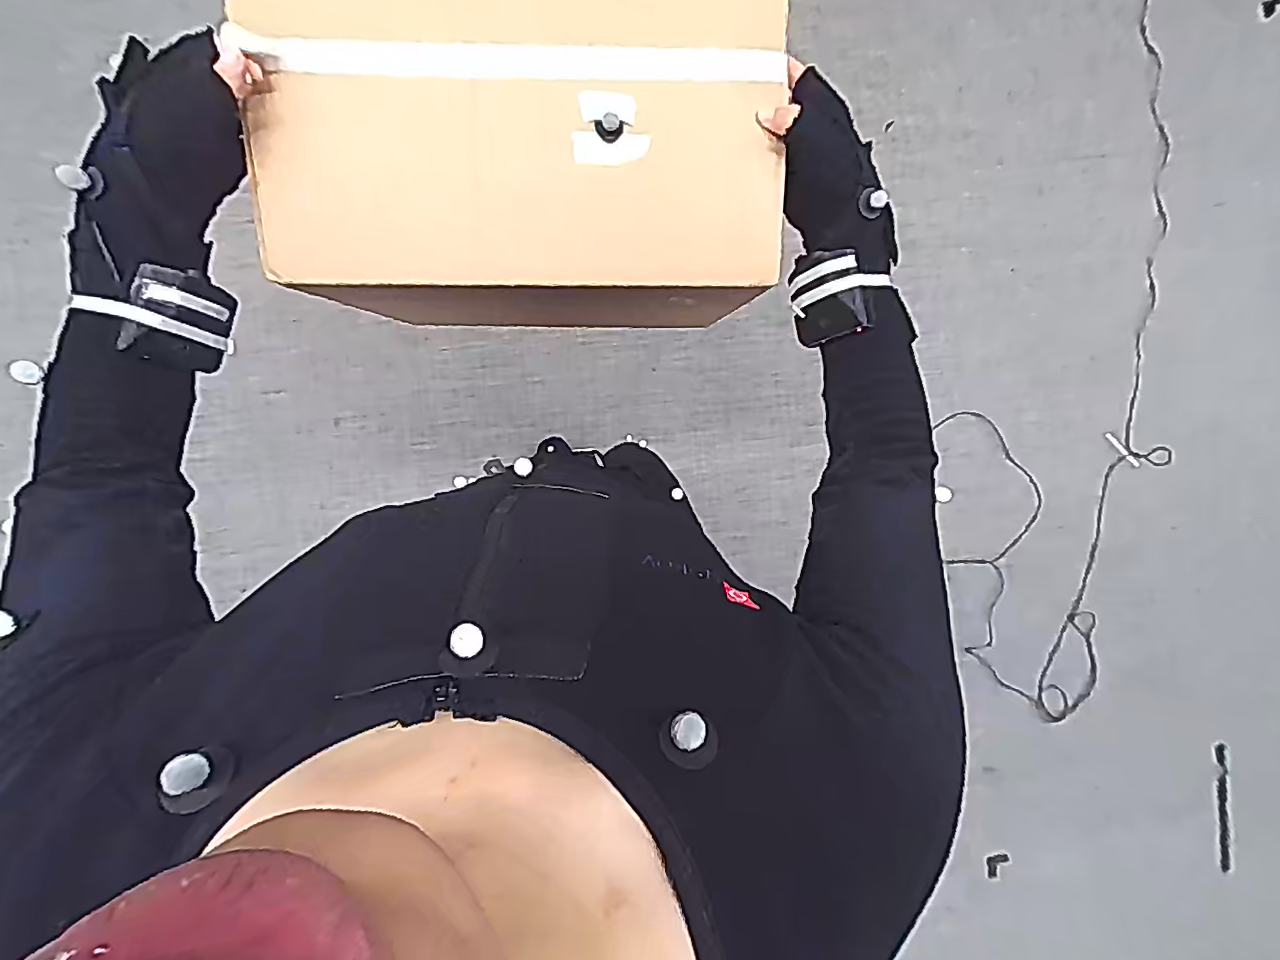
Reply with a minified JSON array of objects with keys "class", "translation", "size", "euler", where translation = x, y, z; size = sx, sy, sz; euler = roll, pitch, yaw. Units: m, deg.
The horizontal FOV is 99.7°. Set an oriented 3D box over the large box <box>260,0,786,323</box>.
[{"class":"large box","translation":[-0.095,-0.344,0.564],"size":[0.408,0.320,0.320],"euler":[-1,100,-4]}]
